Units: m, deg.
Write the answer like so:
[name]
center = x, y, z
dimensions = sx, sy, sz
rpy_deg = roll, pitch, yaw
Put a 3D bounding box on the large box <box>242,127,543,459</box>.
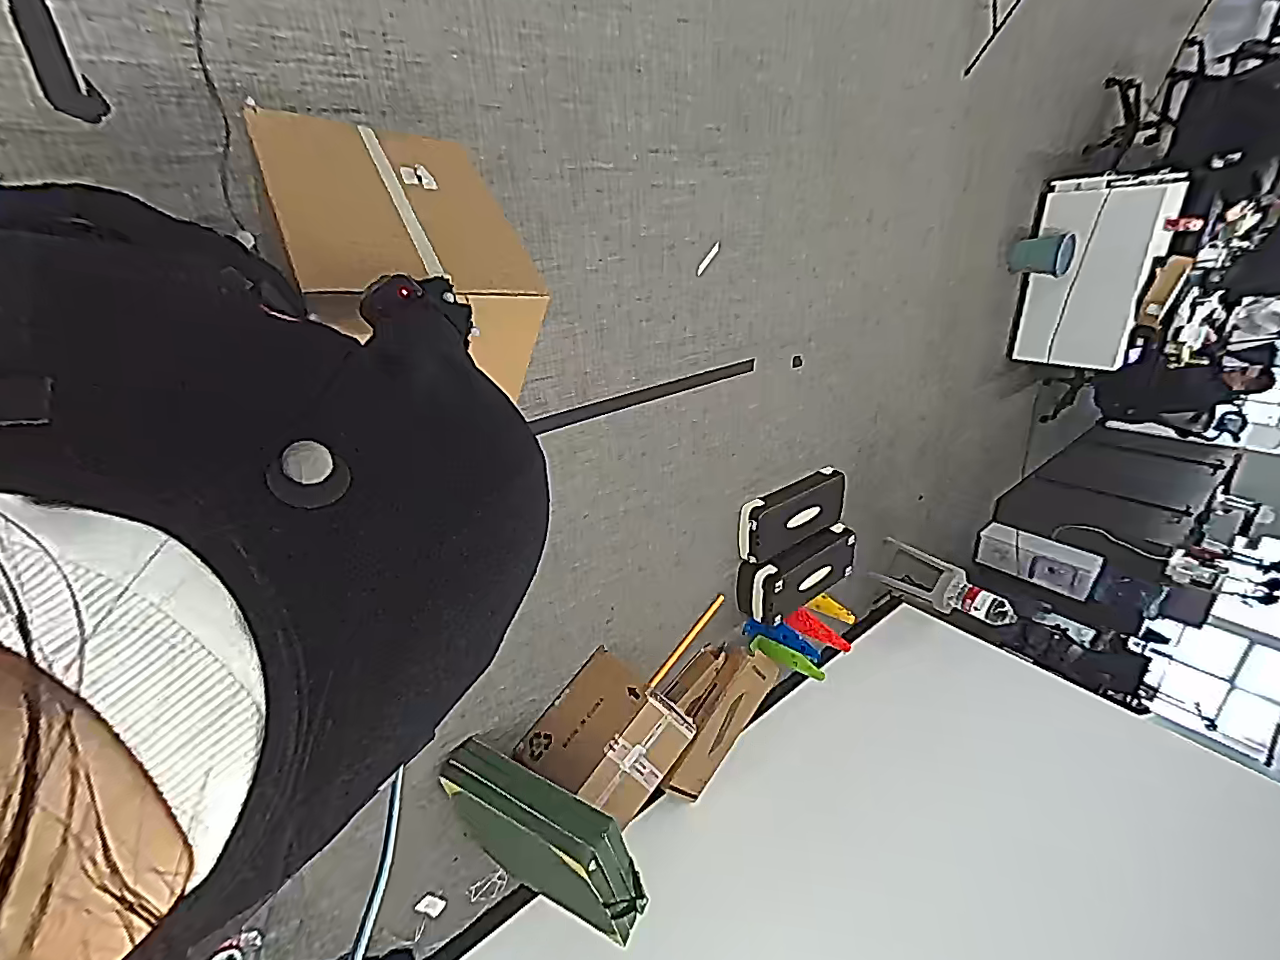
[large box]
center = -0.411, -0.299, 0.894
dimensions = 0.320, 0.408, 0.320
rpy_deg = -13, 150, -36
